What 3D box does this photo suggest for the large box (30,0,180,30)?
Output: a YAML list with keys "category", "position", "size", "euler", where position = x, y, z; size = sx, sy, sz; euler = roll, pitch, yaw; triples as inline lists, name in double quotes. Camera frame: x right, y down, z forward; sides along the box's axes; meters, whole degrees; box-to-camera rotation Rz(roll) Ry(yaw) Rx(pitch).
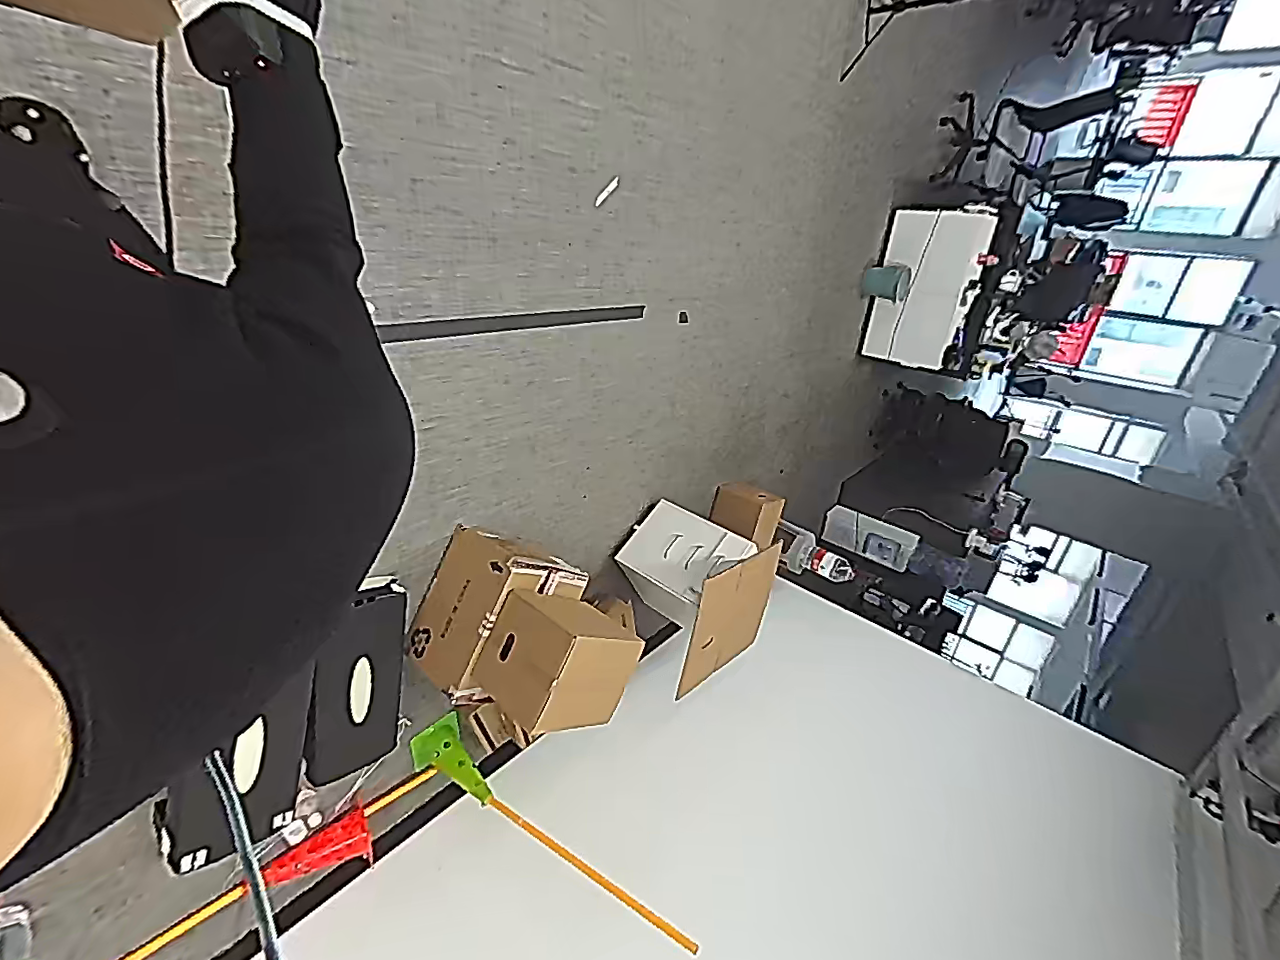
- category: "large box"
  position: [-0.523, -0.508, 0.277]
  size: [0.408, 0.320, 0.320]
  euler: [-17, 124, -45]
